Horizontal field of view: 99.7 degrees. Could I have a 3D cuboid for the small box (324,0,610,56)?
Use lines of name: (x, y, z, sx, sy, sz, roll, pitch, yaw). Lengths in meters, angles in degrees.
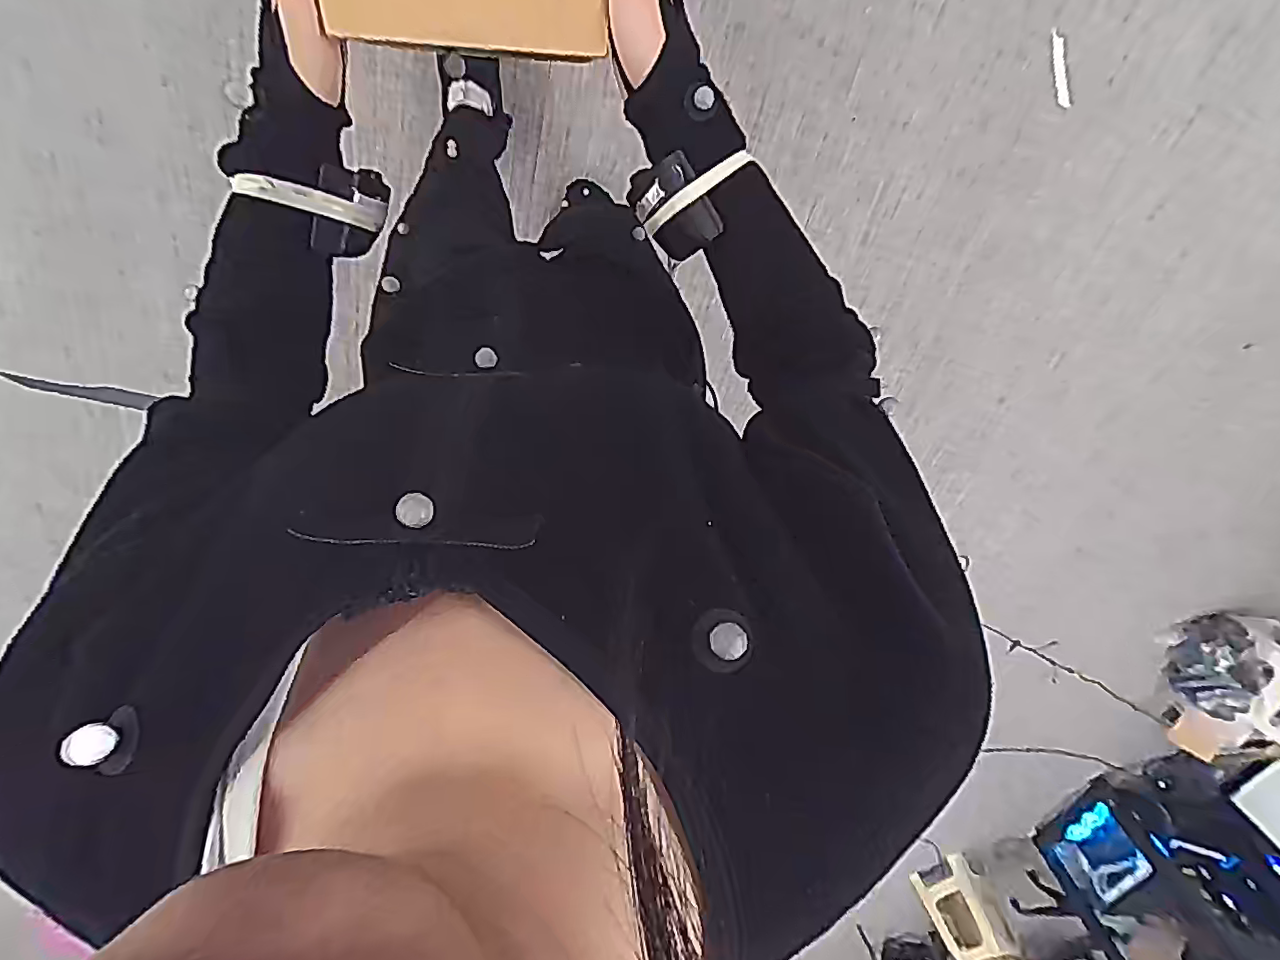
small box: (-0.102, -0.381, 0.334, 0.168, 0.176, 0.179, -1, 125, -8)
